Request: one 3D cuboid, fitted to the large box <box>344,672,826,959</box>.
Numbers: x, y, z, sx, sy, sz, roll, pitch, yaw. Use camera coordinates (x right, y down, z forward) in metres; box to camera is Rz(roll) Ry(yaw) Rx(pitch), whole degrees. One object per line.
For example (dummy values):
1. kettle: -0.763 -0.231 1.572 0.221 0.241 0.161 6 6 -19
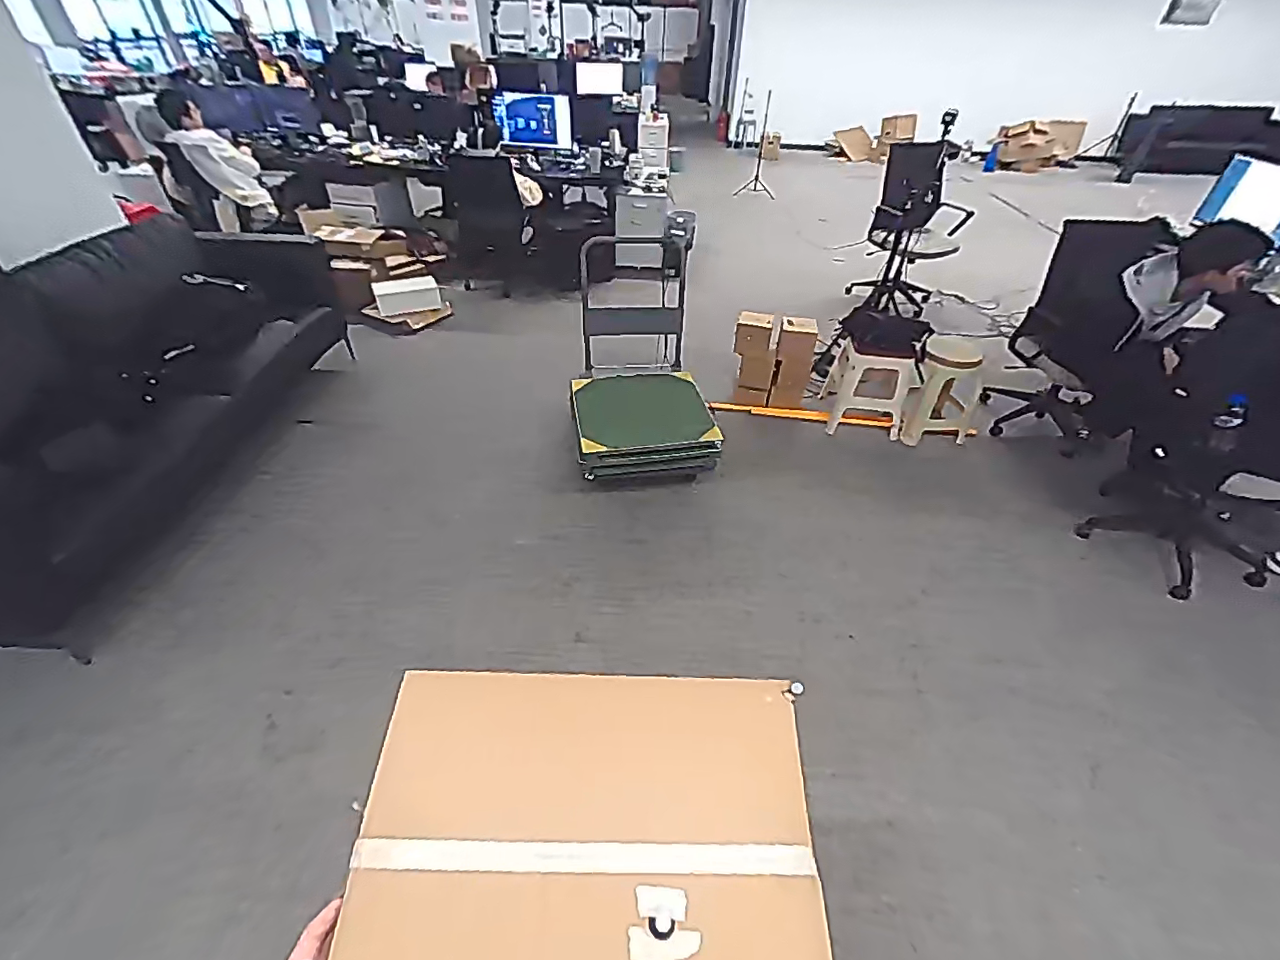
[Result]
1. large box: -0.049 0.420 0.608 0.408 0.320 0.320 2 55 -1
